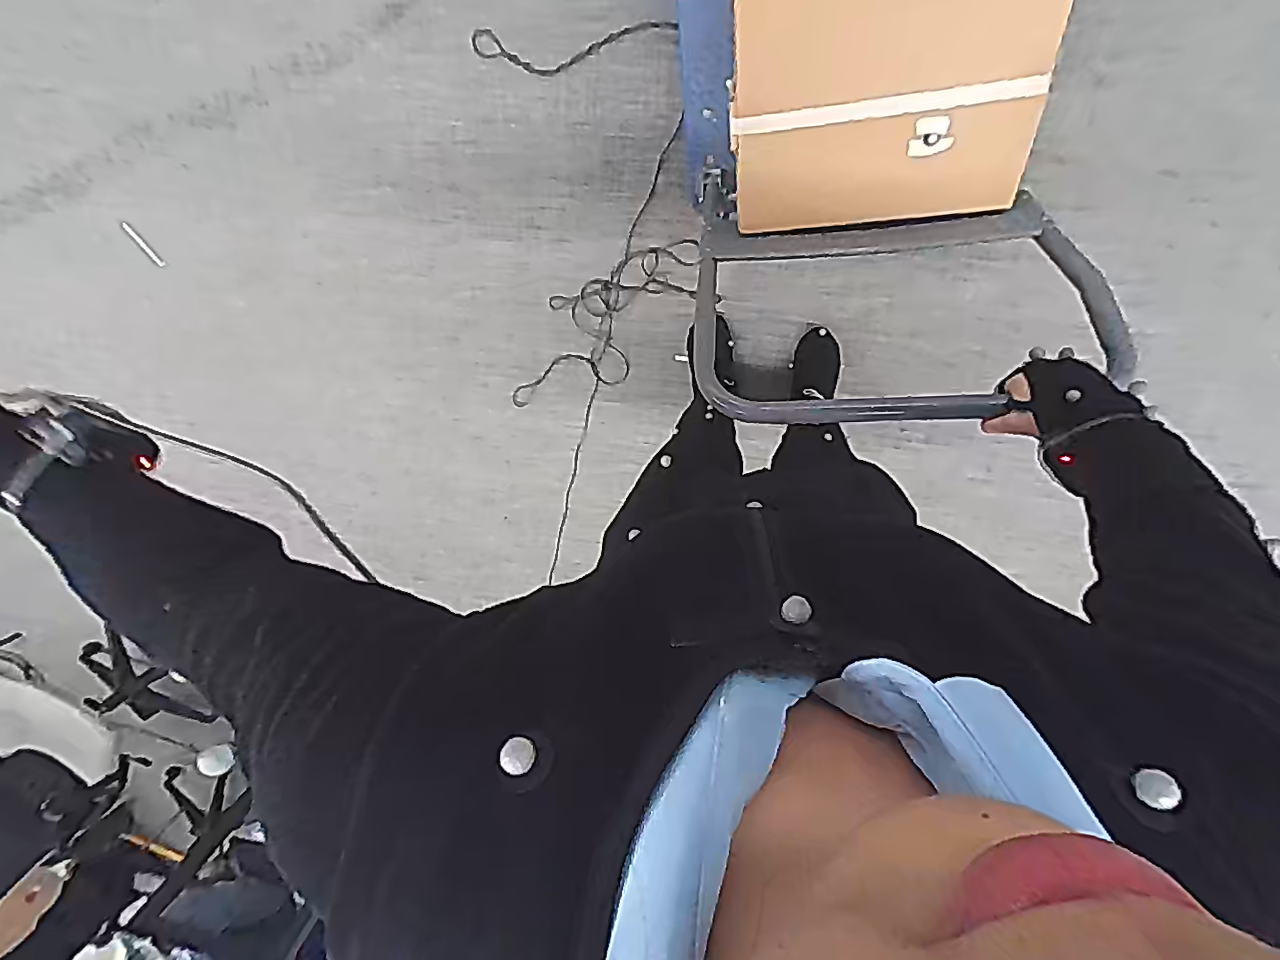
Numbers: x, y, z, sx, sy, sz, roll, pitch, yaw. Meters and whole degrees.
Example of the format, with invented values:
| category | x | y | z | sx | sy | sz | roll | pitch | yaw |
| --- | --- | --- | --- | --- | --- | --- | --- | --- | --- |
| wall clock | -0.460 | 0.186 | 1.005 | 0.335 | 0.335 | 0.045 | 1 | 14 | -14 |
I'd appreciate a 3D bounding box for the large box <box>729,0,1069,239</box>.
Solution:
| category | x | y | z | sx | sy | sz | roll | pitch | yaw |
| --- | --- | --- | --- | --- | --- | --- | --- | --- | --- |
| large box | 0.351 | -0.612 | 0.853 | 0.408 | 0.320 | 0.320 | -2 | 134 | 10 |
